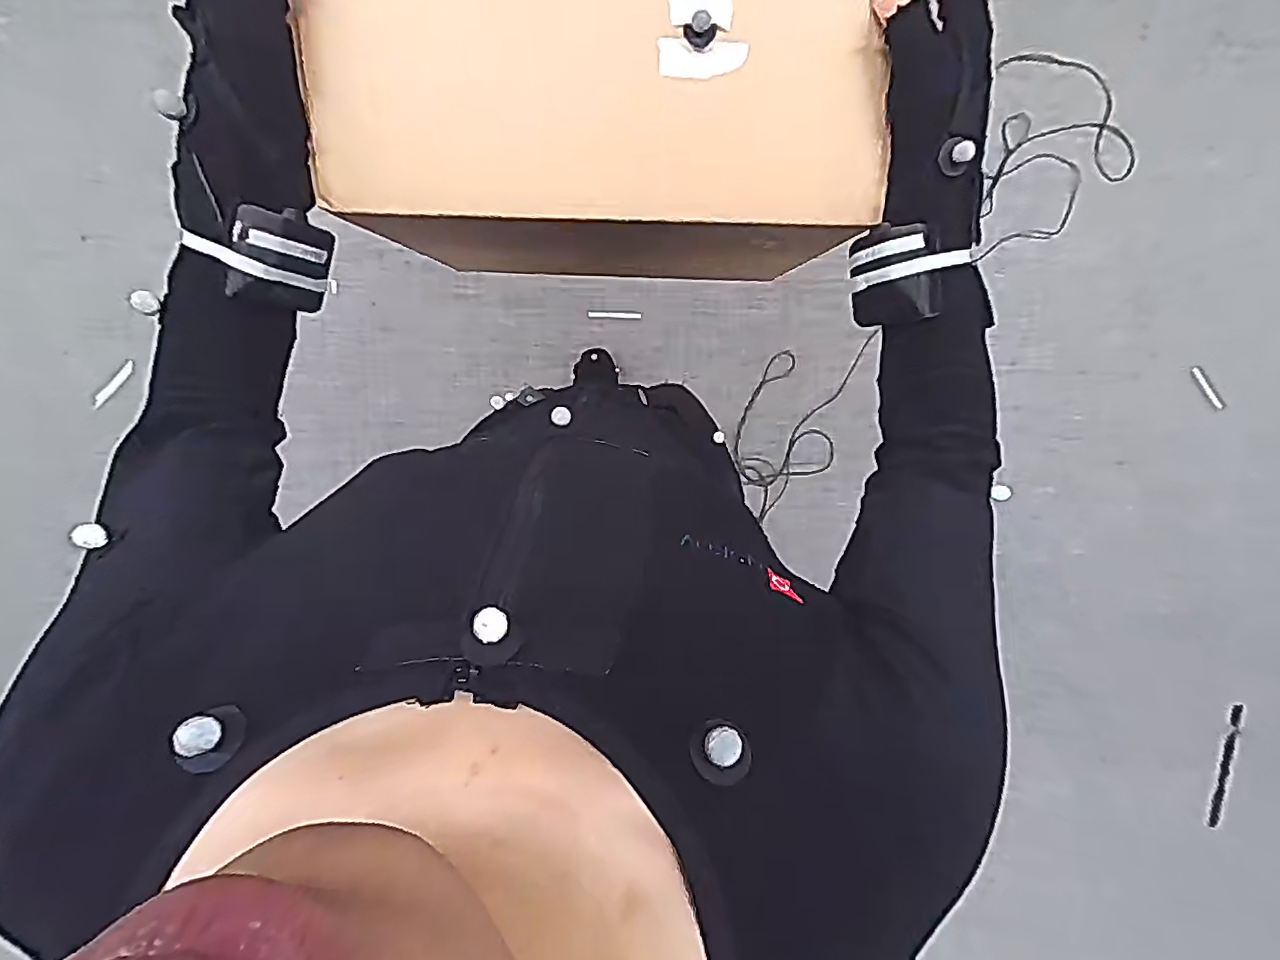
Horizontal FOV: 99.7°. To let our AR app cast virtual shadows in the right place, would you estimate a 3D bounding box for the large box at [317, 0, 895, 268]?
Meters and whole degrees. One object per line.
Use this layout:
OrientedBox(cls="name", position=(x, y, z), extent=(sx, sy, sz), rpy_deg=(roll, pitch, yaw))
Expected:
OrientedBox(cls="large box", position=(-0.025, -0.387, 0.510), extent=(0.408, 0.320, 0.320), rpy_deg=(1, 104, -1))
